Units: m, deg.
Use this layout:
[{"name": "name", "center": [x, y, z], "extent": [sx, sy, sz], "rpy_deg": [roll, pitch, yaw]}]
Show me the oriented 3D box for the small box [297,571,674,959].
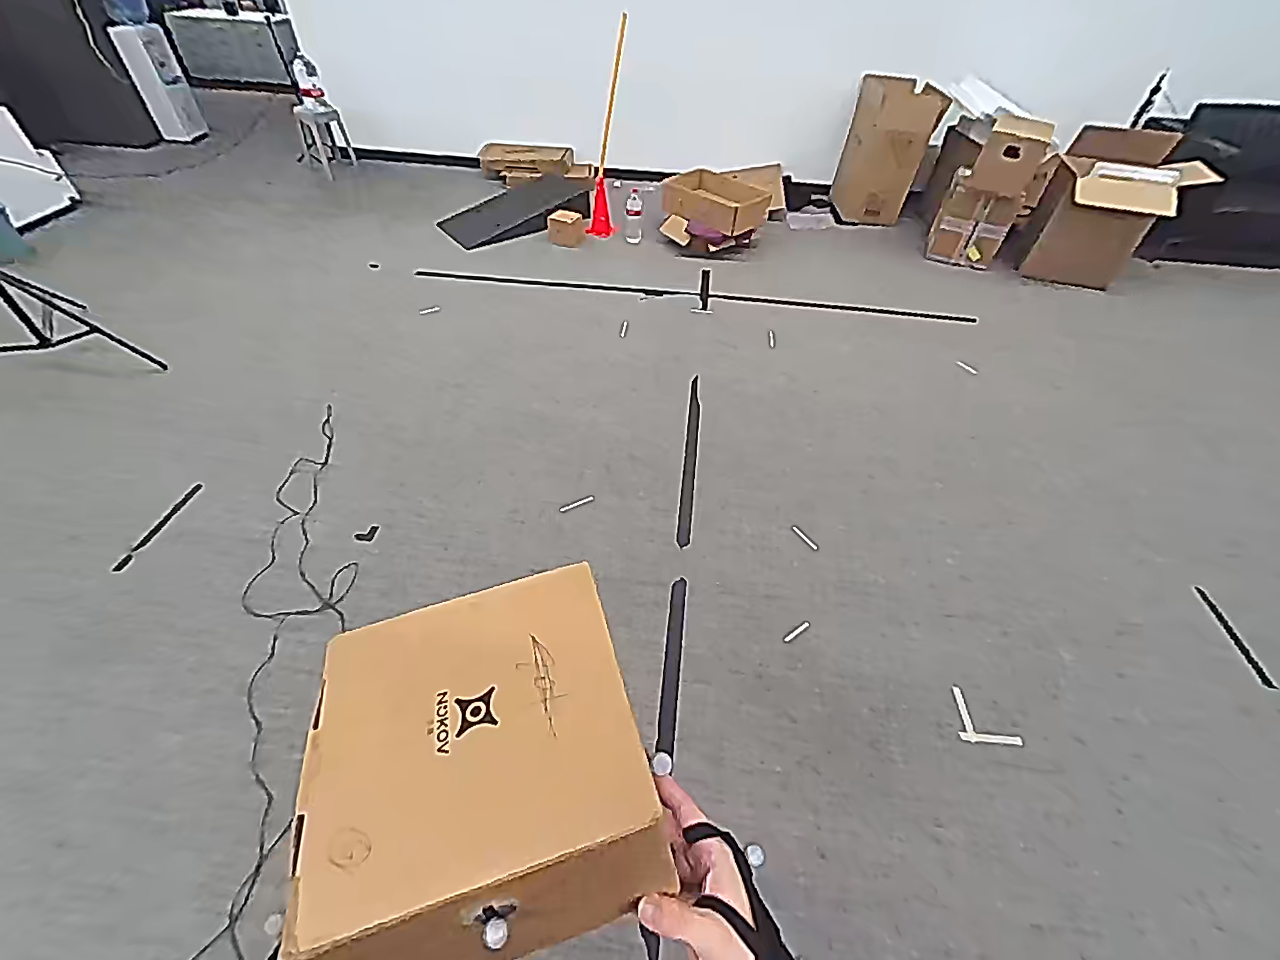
[{"name": "small box", "center": [-0.086, 0.196, 0.365], "extent": [0.179, 0.176, 0.168], "rpy_deg": [-16, 43, -9]}]
